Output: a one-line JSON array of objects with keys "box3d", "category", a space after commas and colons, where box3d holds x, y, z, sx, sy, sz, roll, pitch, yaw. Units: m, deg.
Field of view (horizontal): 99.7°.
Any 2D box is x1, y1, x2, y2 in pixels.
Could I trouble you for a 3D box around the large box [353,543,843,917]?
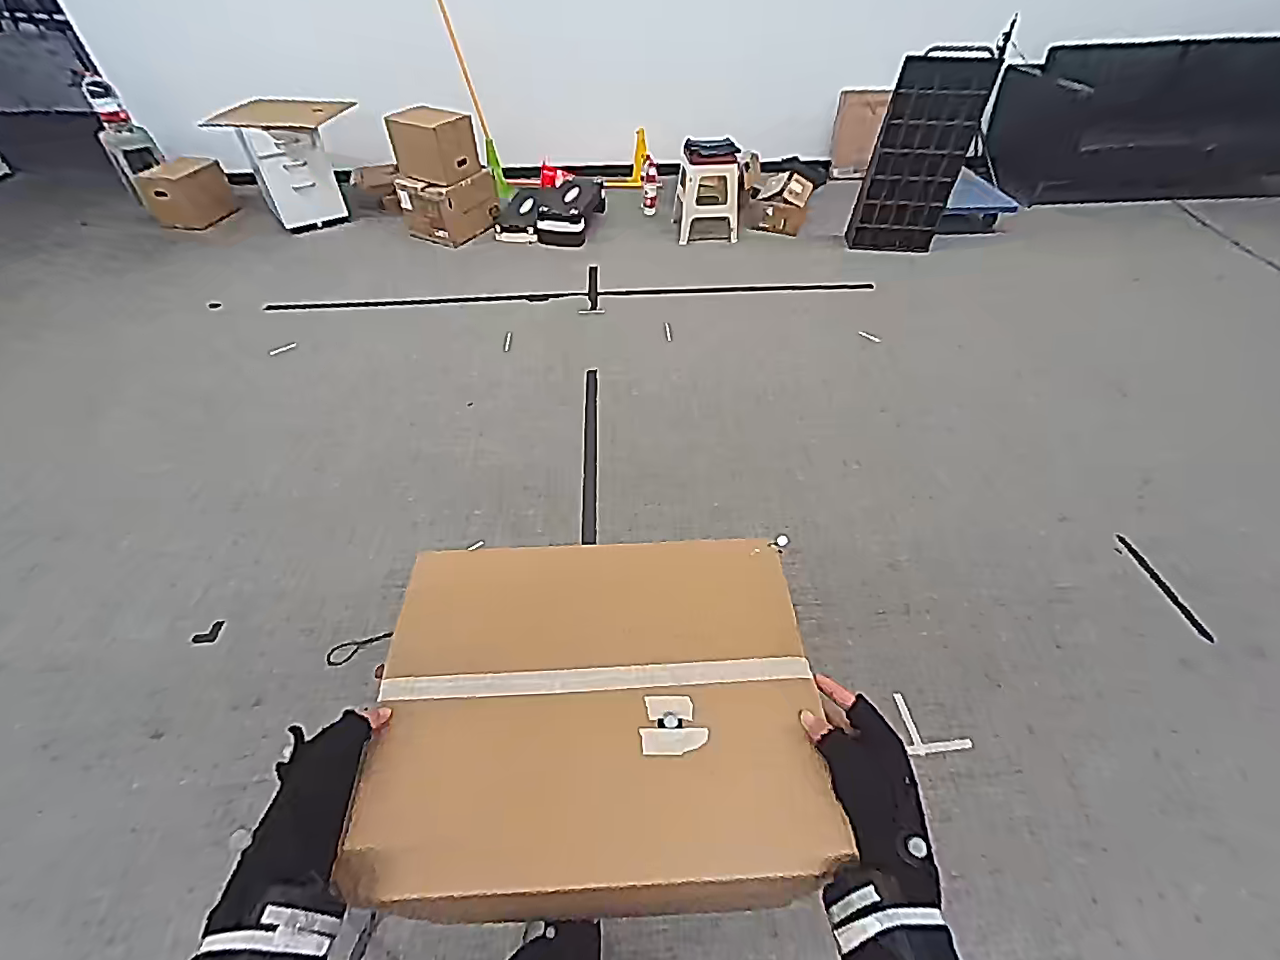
[{"box3d": [-0.040, 0.296, 0.640, 0.408, 0.320, 0.320, -2, 49, -2], "category": "large box"}]
